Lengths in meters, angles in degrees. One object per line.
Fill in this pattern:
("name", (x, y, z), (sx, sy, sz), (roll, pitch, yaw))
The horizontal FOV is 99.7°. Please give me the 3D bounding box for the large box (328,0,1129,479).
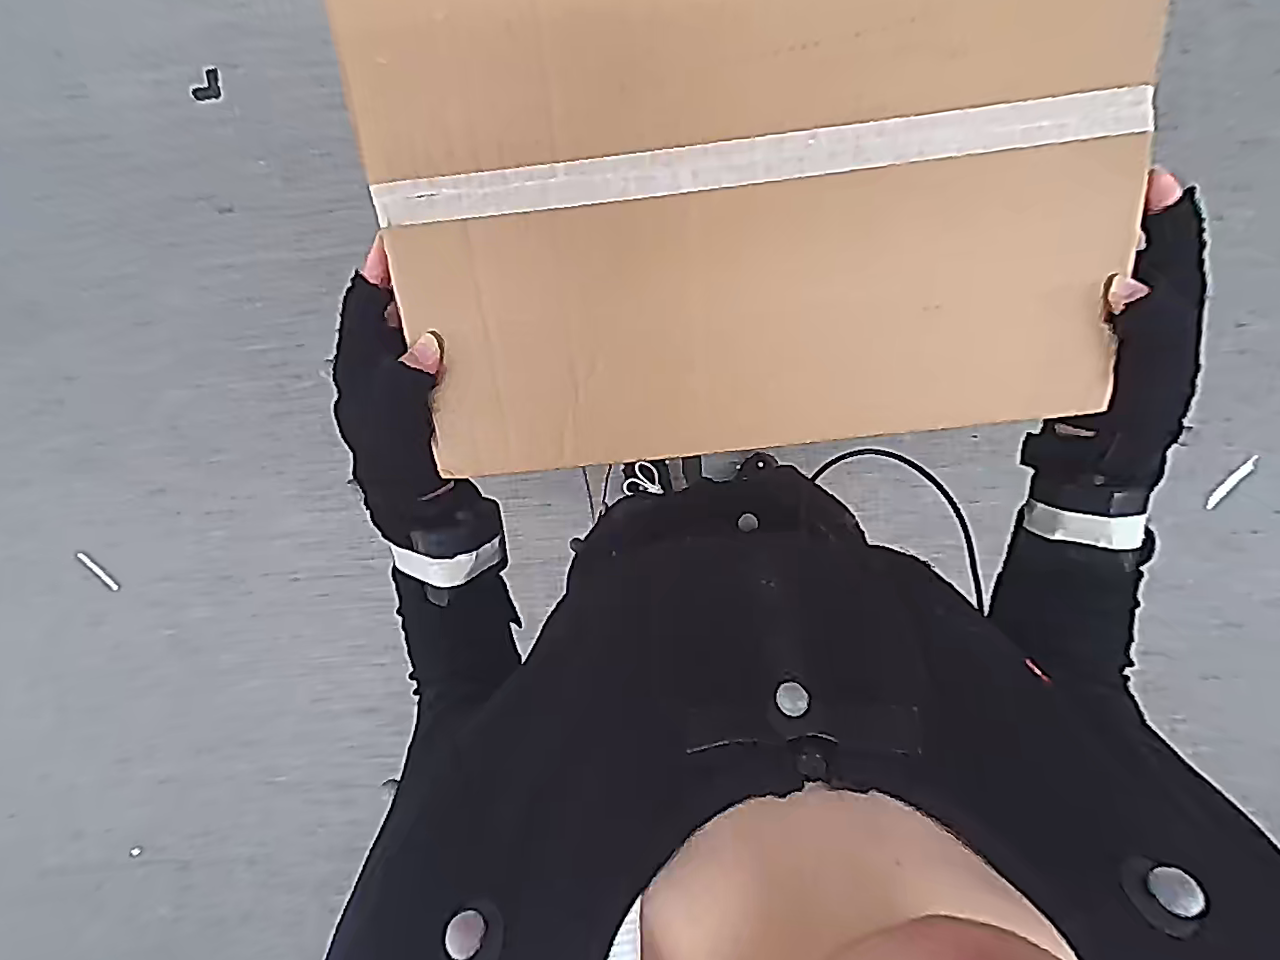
("large box", (0.054, -0.214, 0.436), (0.408, 0.320, 0.320), (-6, 108, 2))
